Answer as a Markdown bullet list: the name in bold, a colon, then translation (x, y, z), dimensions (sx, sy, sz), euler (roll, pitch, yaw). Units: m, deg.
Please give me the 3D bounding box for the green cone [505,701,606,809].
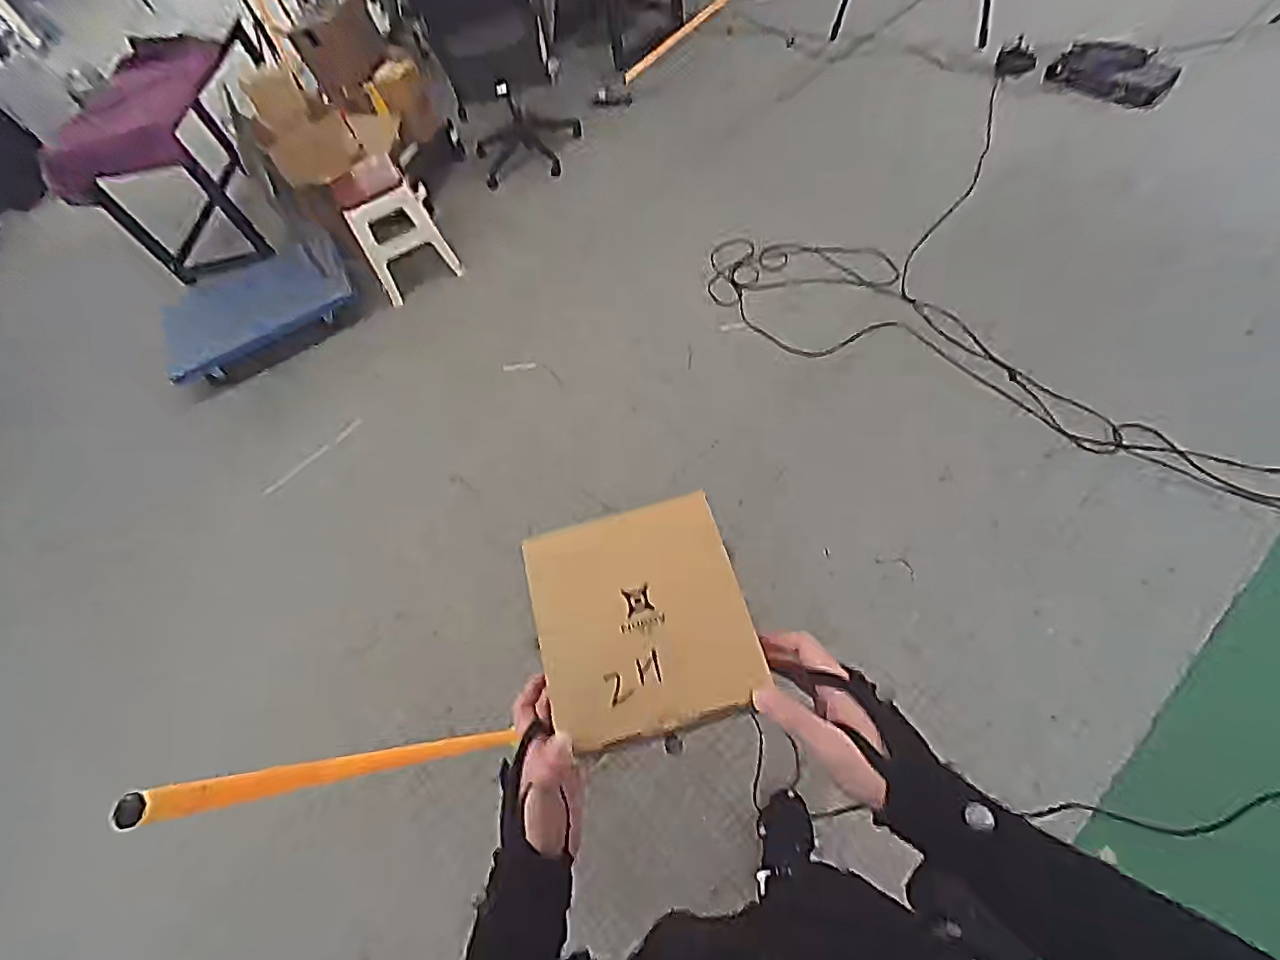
- **green cone**: translation (-0.243, 0.642, 1.301), dimensions (0.202, 0.368, 0.200), euler (-39, 60, -14)
